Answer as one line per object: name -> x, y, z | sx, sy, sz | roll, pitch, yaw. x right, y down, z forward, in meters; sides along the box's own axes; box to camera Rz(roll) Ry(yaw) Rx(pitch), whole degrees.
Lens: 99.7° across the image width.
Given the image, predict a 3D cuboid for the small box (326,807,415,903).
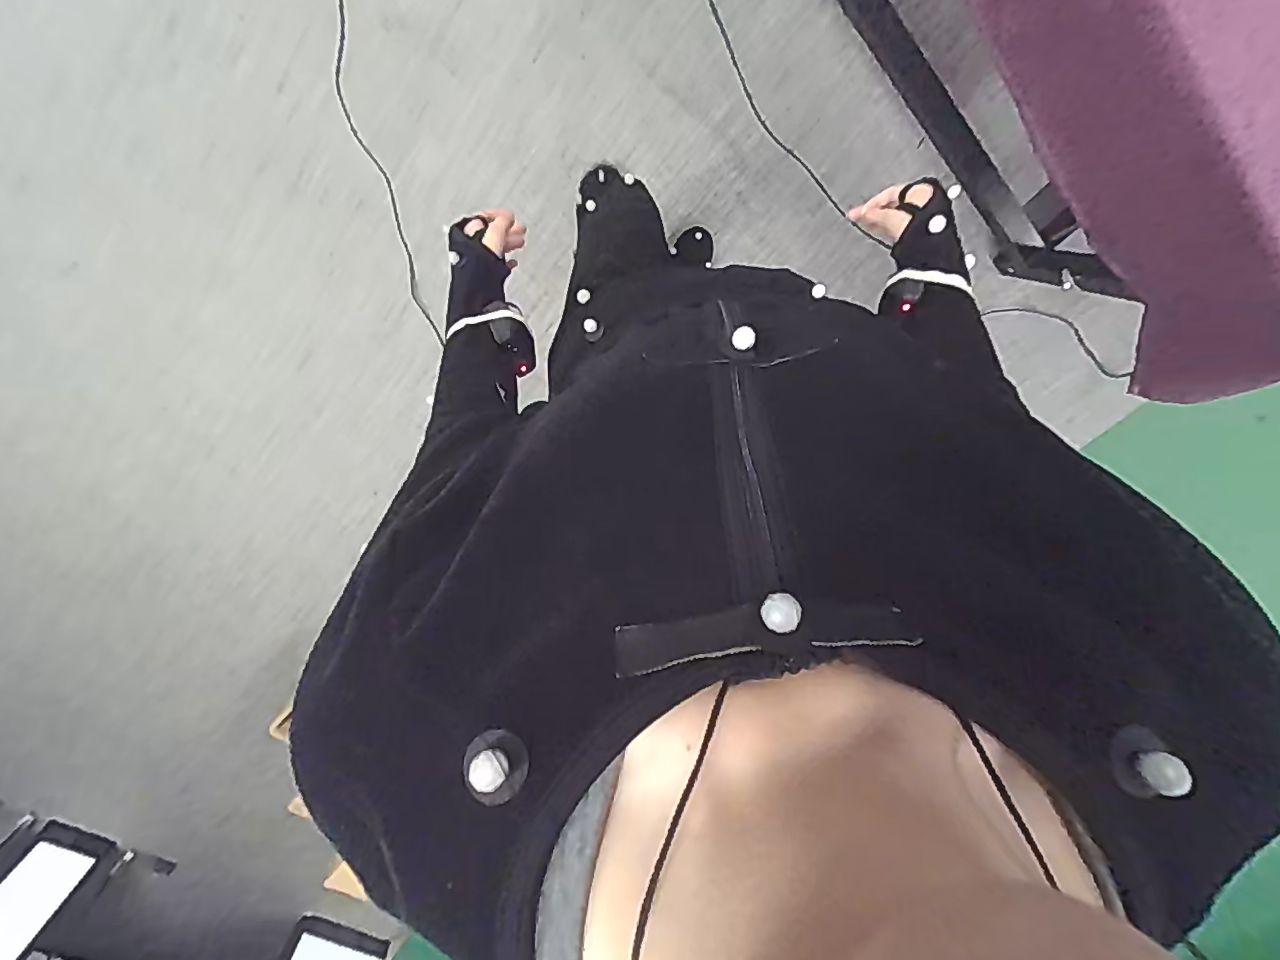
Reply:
small box -> -0.828, 1.161, 1.682 | 0.168, 0.176, 0.179 | 34, 111, -15
